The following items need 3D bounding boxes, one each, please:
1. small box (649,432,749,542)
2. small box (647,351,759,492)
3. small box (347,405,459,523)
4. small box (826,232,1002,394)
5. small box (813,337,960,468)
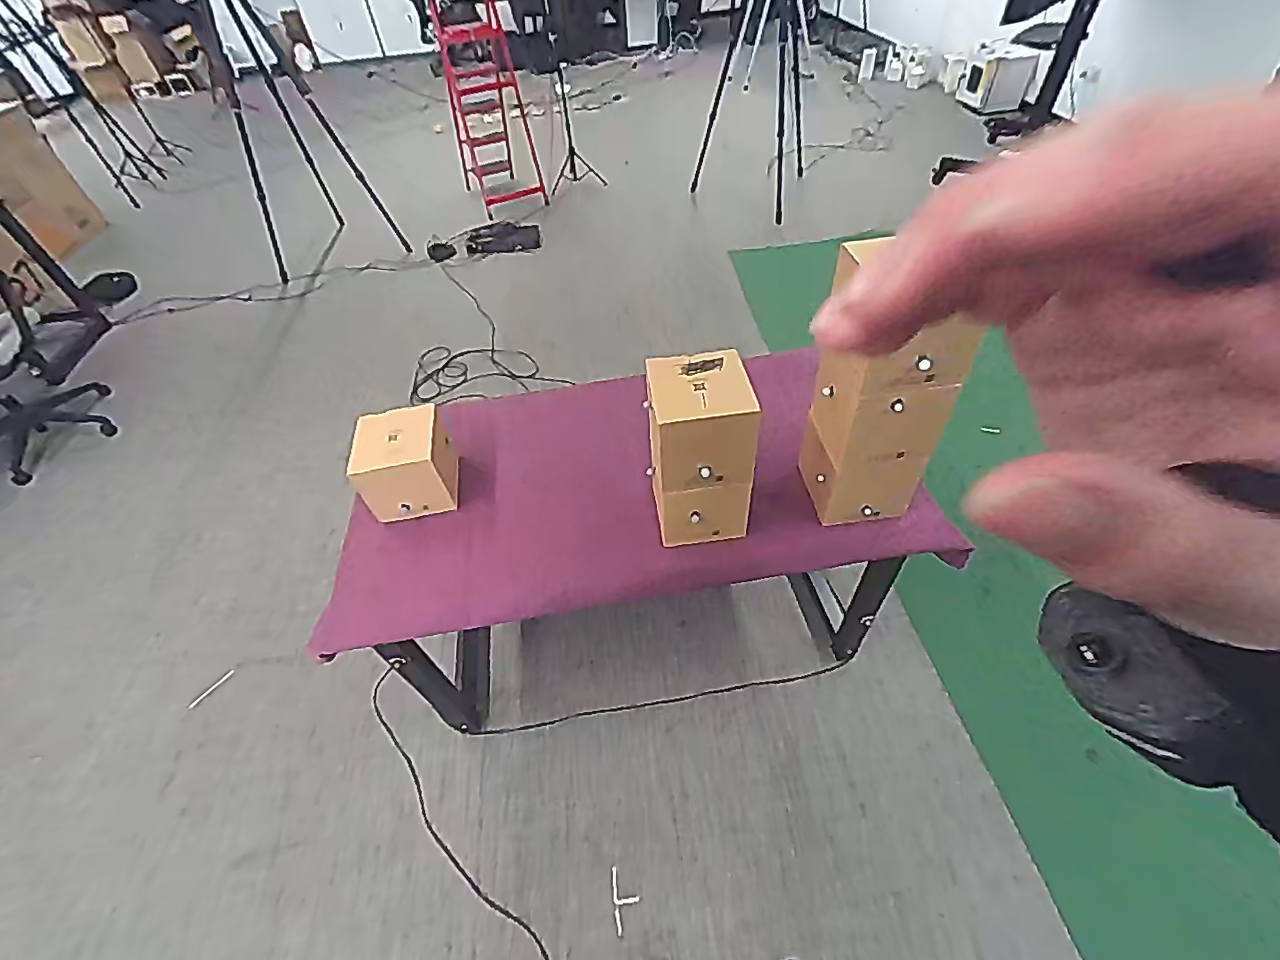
[{"bbox_3d":[0.115,0.010,1.074,0.168,0.176,0.179,-8,47,-1],"label":"small box"},{"bbox_3d":[0.104,-0.103,0.954,0.168,0.176,0.179,-8,48,0],"label":"small box"},{"bbox_3d":[-0.499,-0.034,1.170,0.168,0.176,0.179,-11,49,-4],"label":"small box"},{"bbox_3d":[0.403,-0.257,0.836,0.168,0.176,0.179,-8,49,0],"label":"small box"},{"bbox_3d":[0.418,-0.144,0.956,0.168,0.176,0.179,-8,47,1],"label":"small box"}]
